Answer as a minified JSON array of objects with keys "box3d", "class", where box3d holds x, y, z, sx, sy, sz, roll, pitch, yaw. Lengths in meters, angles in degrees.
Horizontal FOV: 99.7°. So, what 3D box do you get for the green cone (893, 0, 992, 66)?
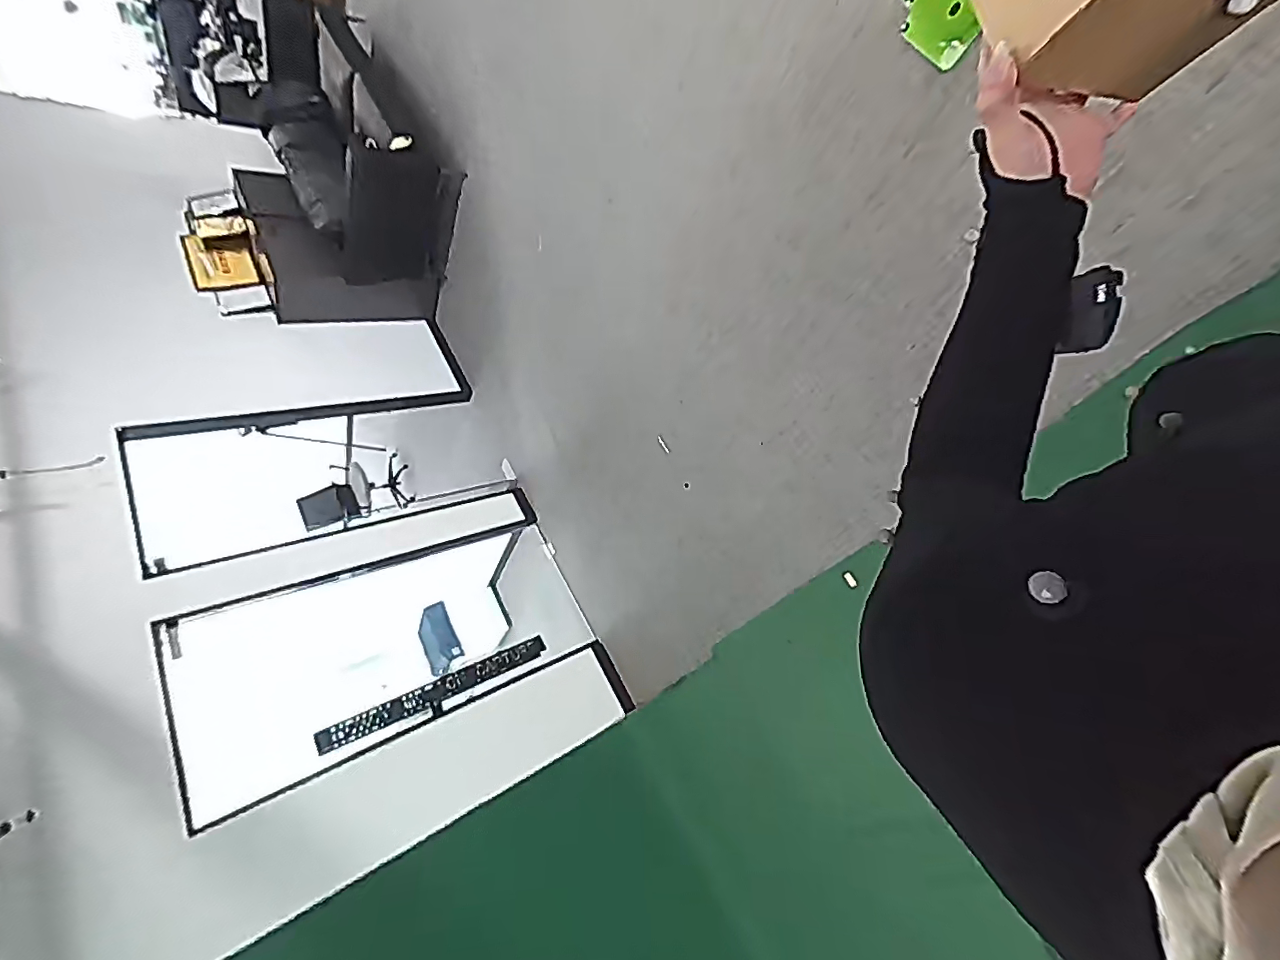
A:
[{"box3d":[0.626,-1.142,1.230,0.200,0.368,0.202,59,138,19],"class":"green cone"}]
